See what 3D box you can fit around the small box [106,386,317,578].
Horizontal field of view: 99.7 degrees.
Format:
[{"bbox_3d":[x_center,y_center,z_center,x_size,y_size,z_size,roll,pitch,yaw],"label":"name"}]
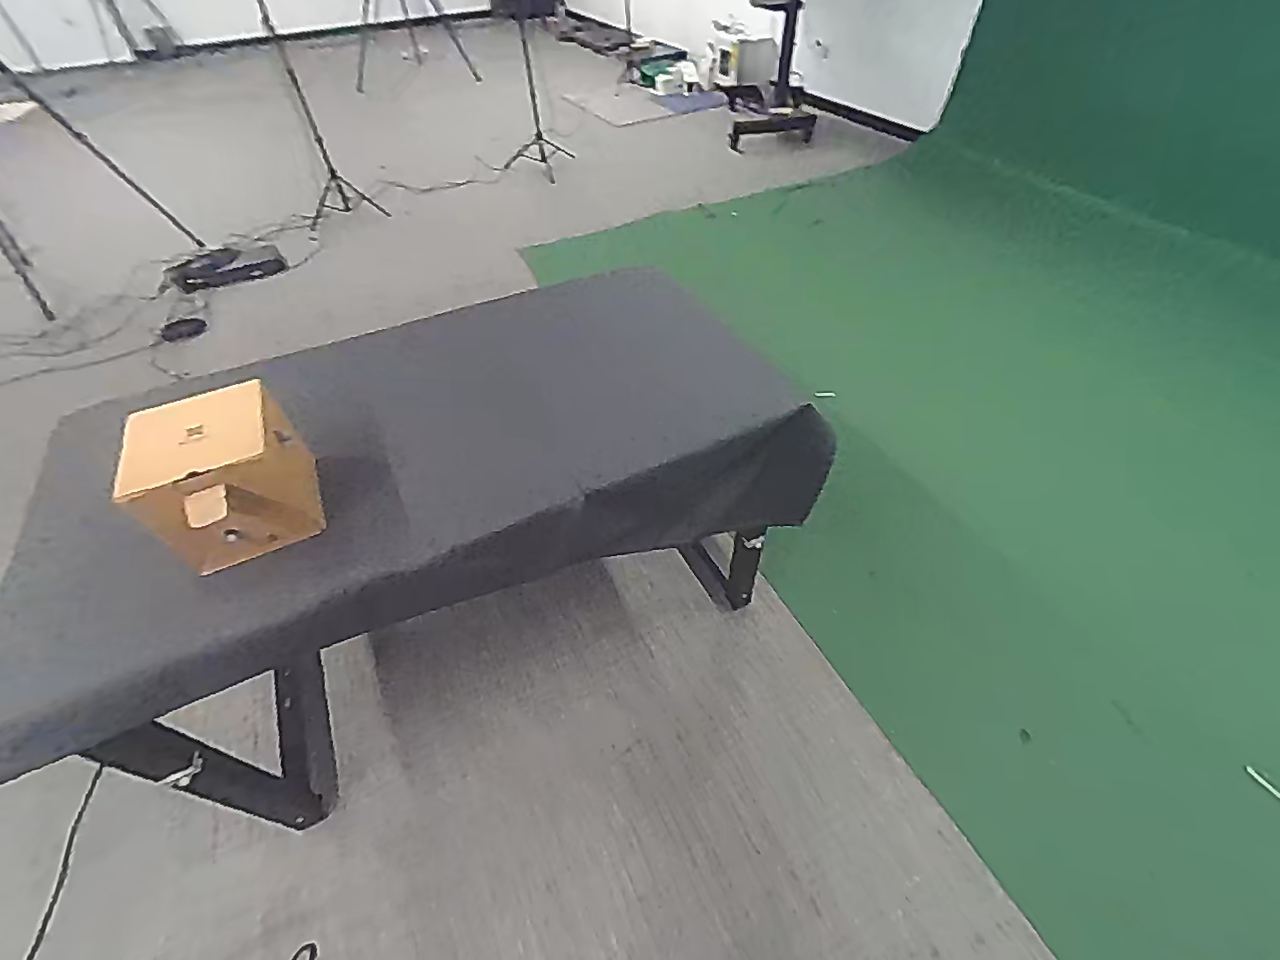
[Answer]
[{"bbox_3d":[-0.582,0.003,0.758,0.168,0.176,0.179,-23,52,-18],"label":"small box"}]
